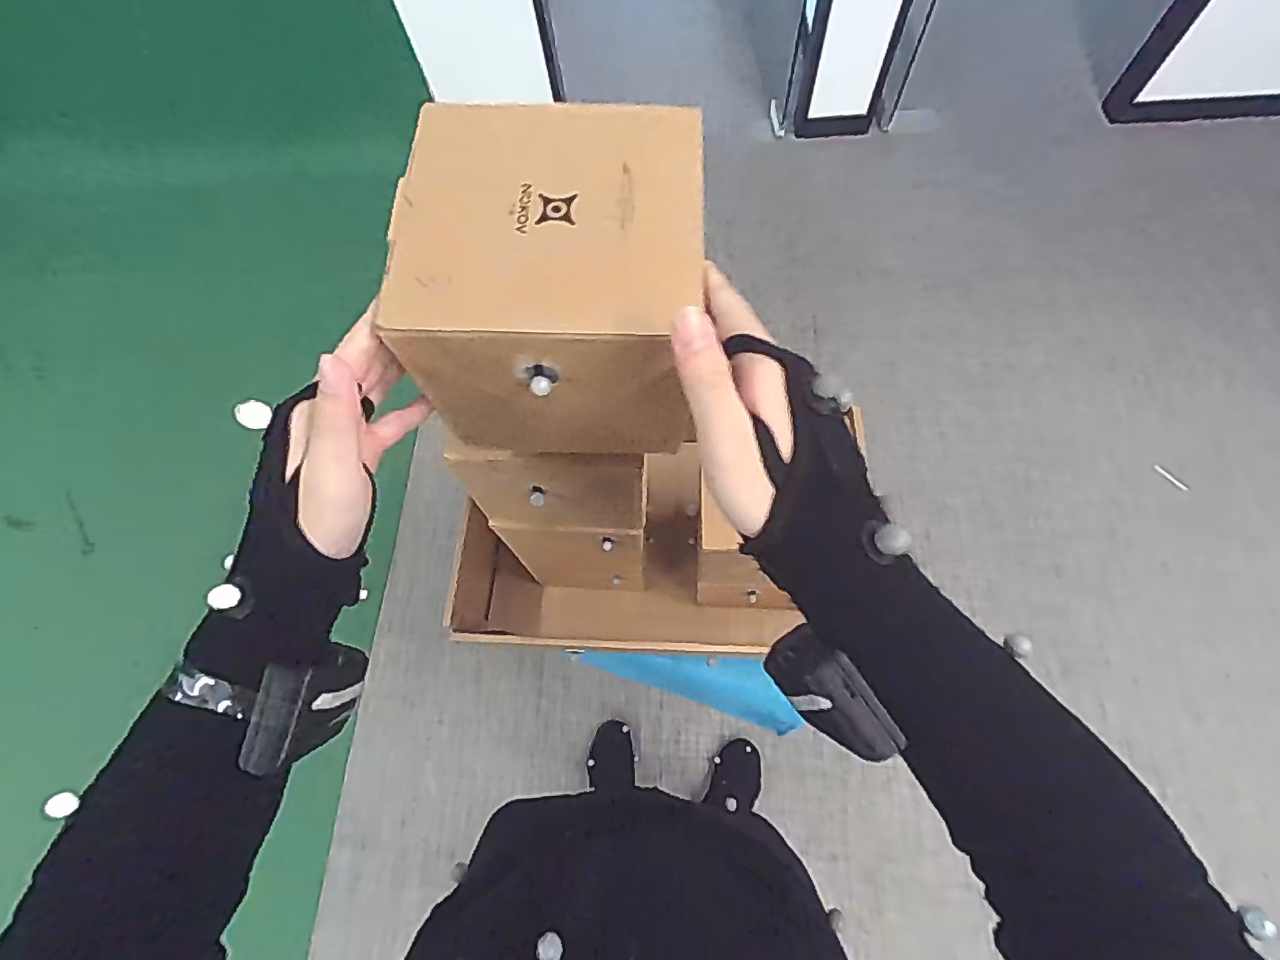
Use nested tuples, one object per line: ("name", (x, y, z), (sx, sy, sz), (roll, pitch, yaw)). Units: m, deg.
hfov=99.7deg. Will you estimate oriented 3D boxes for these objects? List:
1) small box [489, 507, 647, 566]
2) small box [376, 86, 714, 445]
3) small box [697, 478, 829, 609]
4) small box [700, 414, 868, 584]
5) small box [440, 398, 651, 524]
("small box", (-0.079, 0.010, 0.710), (0.179, 0.176, 0.168), (2, 66, 1))
("small box", (-0.045, -0.131, 0.375), (0.179, 0.176, 0.168), (2, 71, 1))
("small box", (0.179, 0.099, 0.825), (0.179, 0.176, 0.168), (1, 66, 7))
("small box", (0.165, 0.030, 0.677), (0.179, 0.176, 0.168), (0, 66, 7))
("small box", (-0.078, -0.059, 0.561), (0.179, 0.176, 0.168), (2, 67, 3))
